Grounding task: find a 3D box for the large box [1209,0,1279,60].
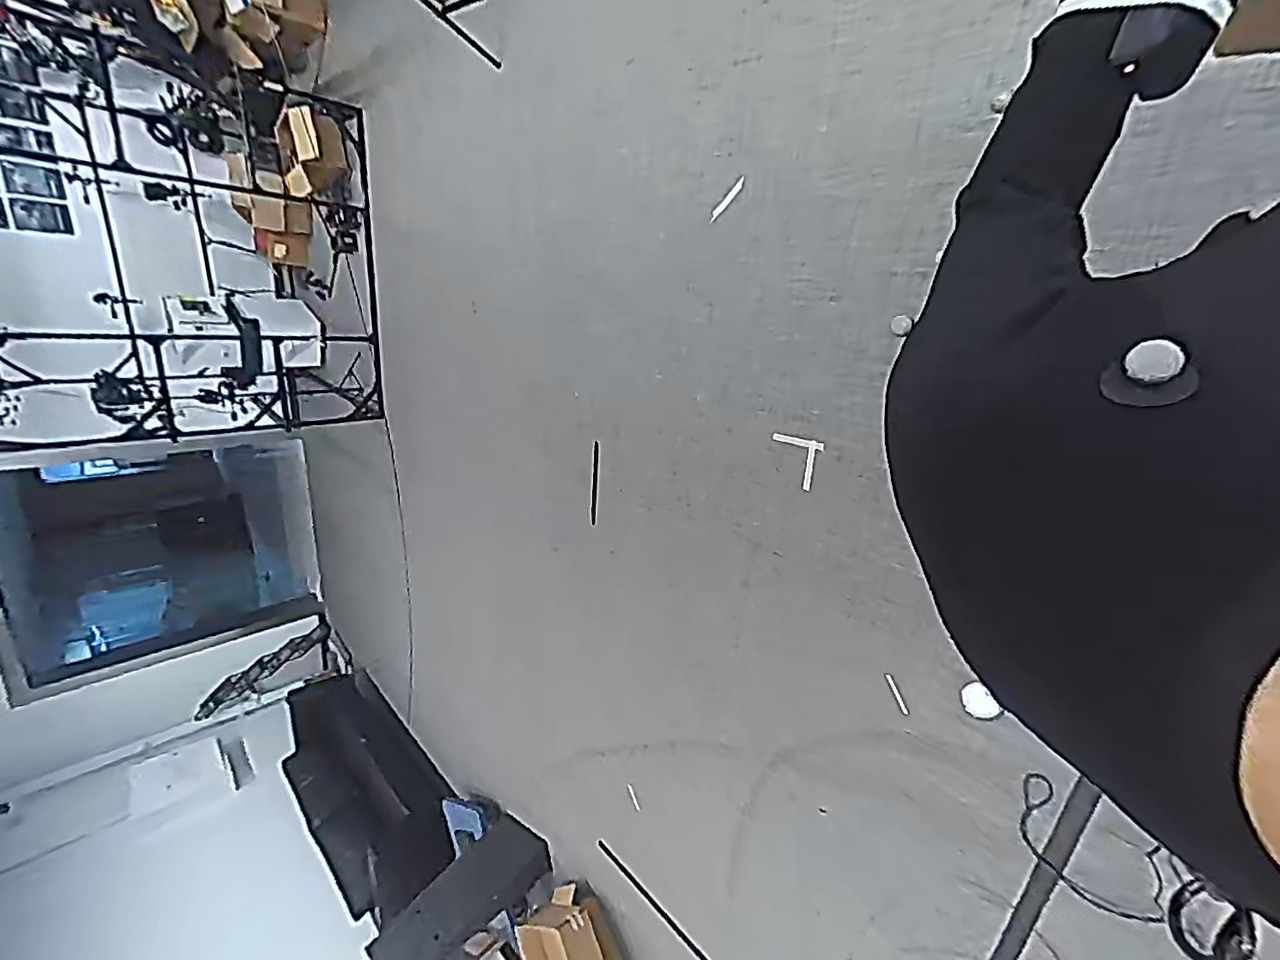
[{"bbox_3d":[0.605,-0.443,0.251,0.408,0.320,0.320,26,125,38],"label":"large box"}]
